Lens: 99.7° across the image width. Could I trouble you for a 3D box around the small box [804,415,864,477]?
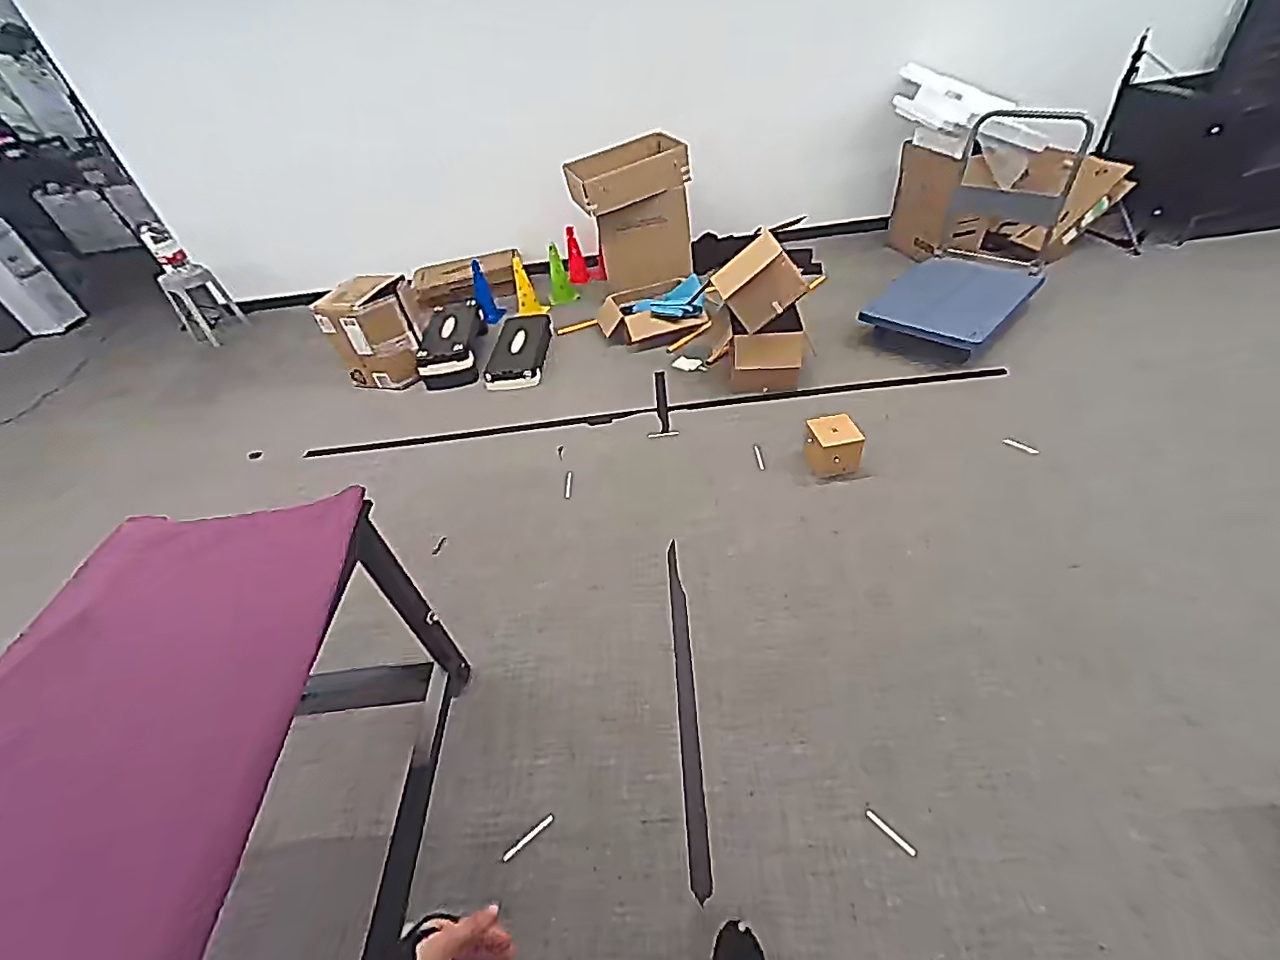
[{"bbox_3d":[0.761,-0.128,2.131,0.168,0.176,0.179,-11,42,-2],"label":"small box"}]
